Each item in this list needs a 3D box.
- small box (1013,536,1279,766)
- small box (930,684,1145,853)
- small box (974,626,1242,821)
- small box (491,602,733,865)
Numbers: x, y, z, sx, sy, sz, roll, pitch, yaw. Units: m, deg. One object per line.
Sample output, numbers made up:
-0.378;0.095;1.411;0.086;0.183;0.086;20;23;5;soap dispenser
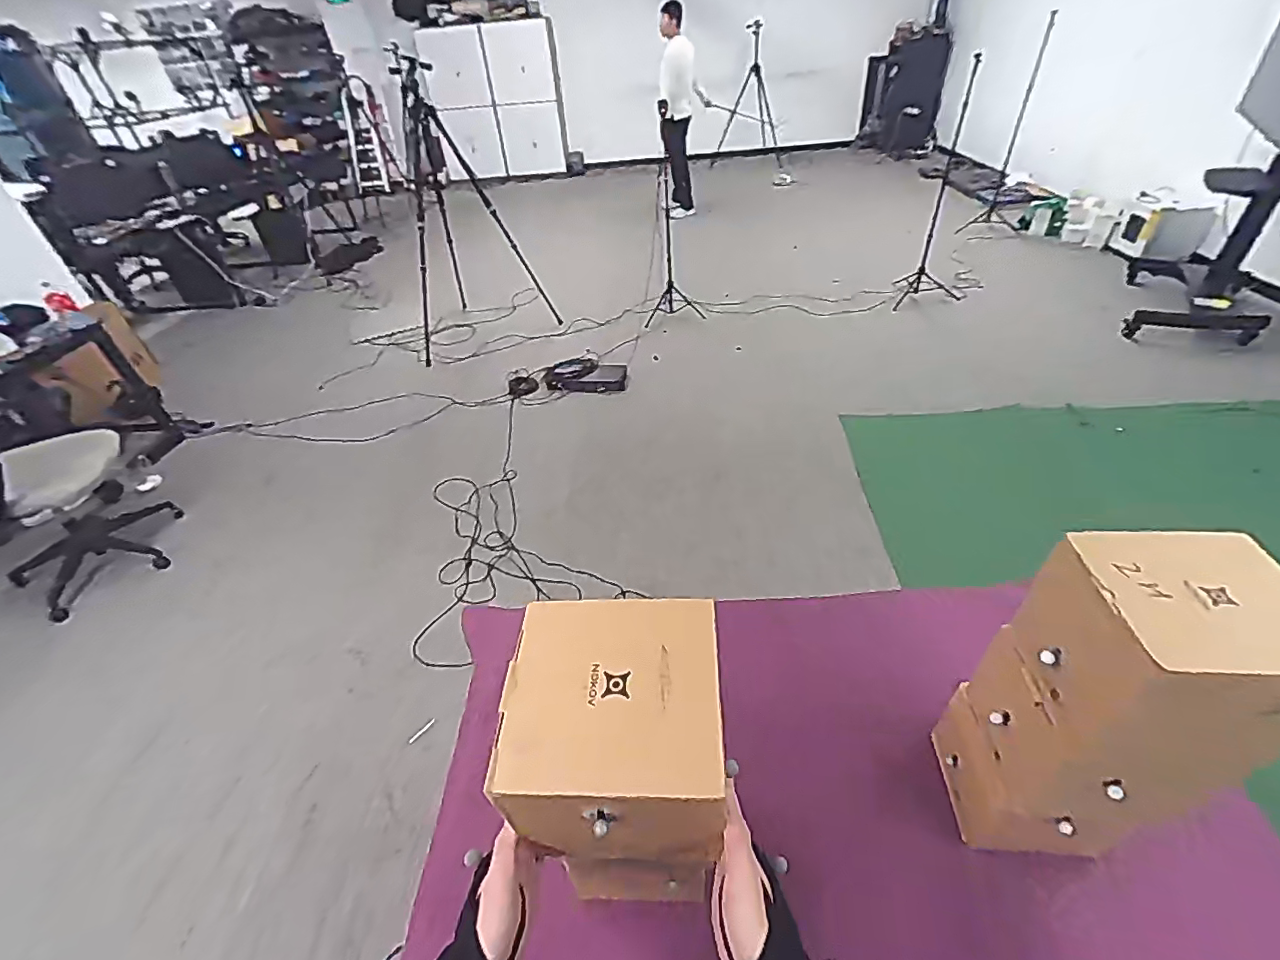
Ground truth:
0.538;0.176;0.560;0.179;0.176;0.168;0;40;7;small box
0.556;0.418;0.784;0.179;0.176;0.168;0;40;7;small box
0.544;0.300;0.670;0.179;0.176;0.168;0;41;7;small box
-0.010;0.228;0.488;0.179;0.176;0.168;-1;43;5;small box
